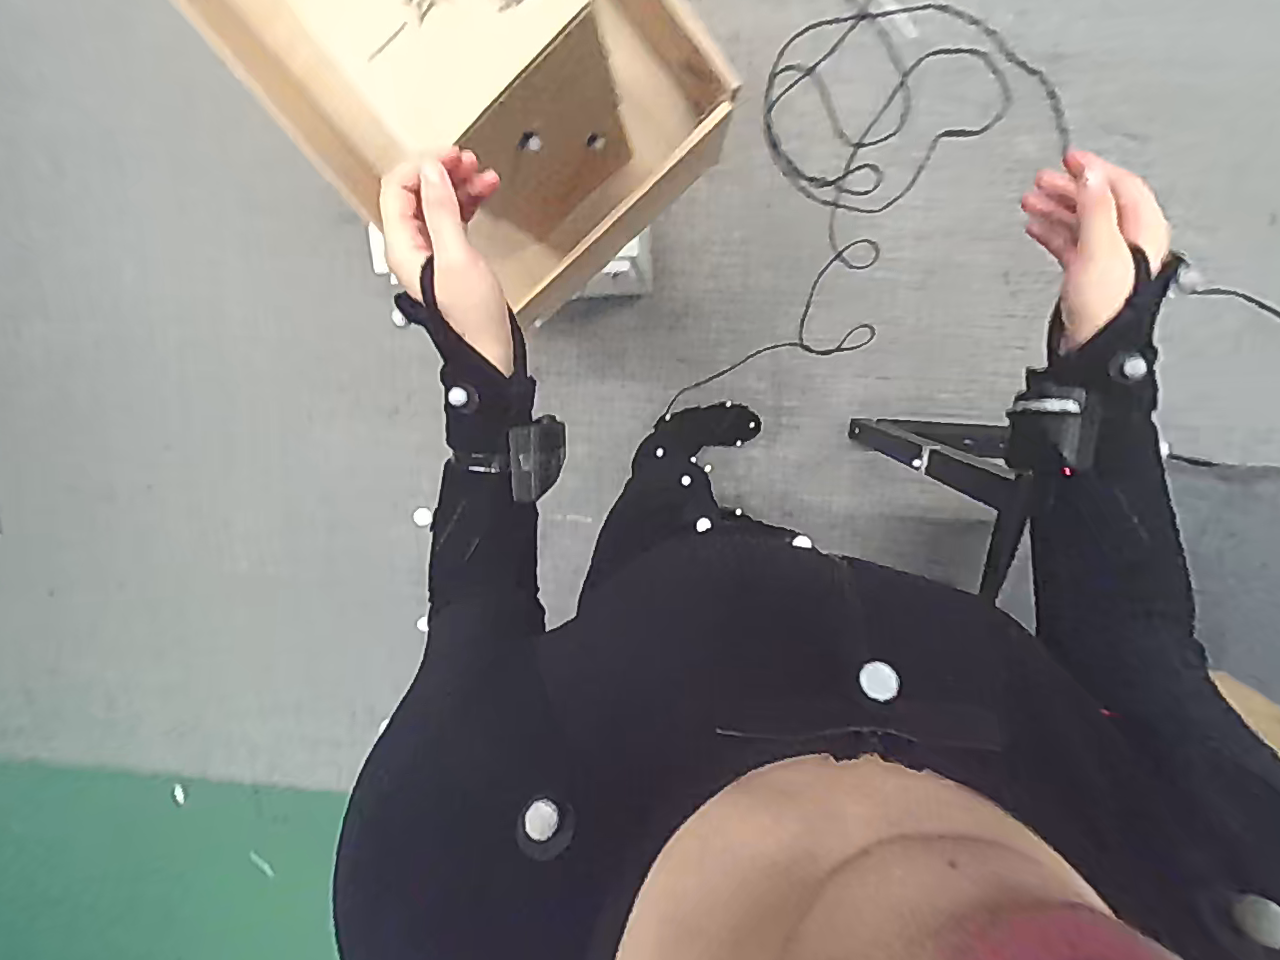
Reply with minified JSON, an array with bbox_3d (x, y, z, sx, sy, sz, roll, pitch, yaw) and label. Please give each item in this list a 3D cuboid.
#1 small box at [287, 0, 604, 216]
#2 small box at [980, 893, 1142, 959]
[{"bbox_3d":[-0.147,-0.374,0.479,0.179,0.176,0.168,-38,96,13],"label":"small box"},{"bbox_3d":[0.618,0.742,0.766,0.168,0.176,0.179,7,103,0],"label":"small box"}]
